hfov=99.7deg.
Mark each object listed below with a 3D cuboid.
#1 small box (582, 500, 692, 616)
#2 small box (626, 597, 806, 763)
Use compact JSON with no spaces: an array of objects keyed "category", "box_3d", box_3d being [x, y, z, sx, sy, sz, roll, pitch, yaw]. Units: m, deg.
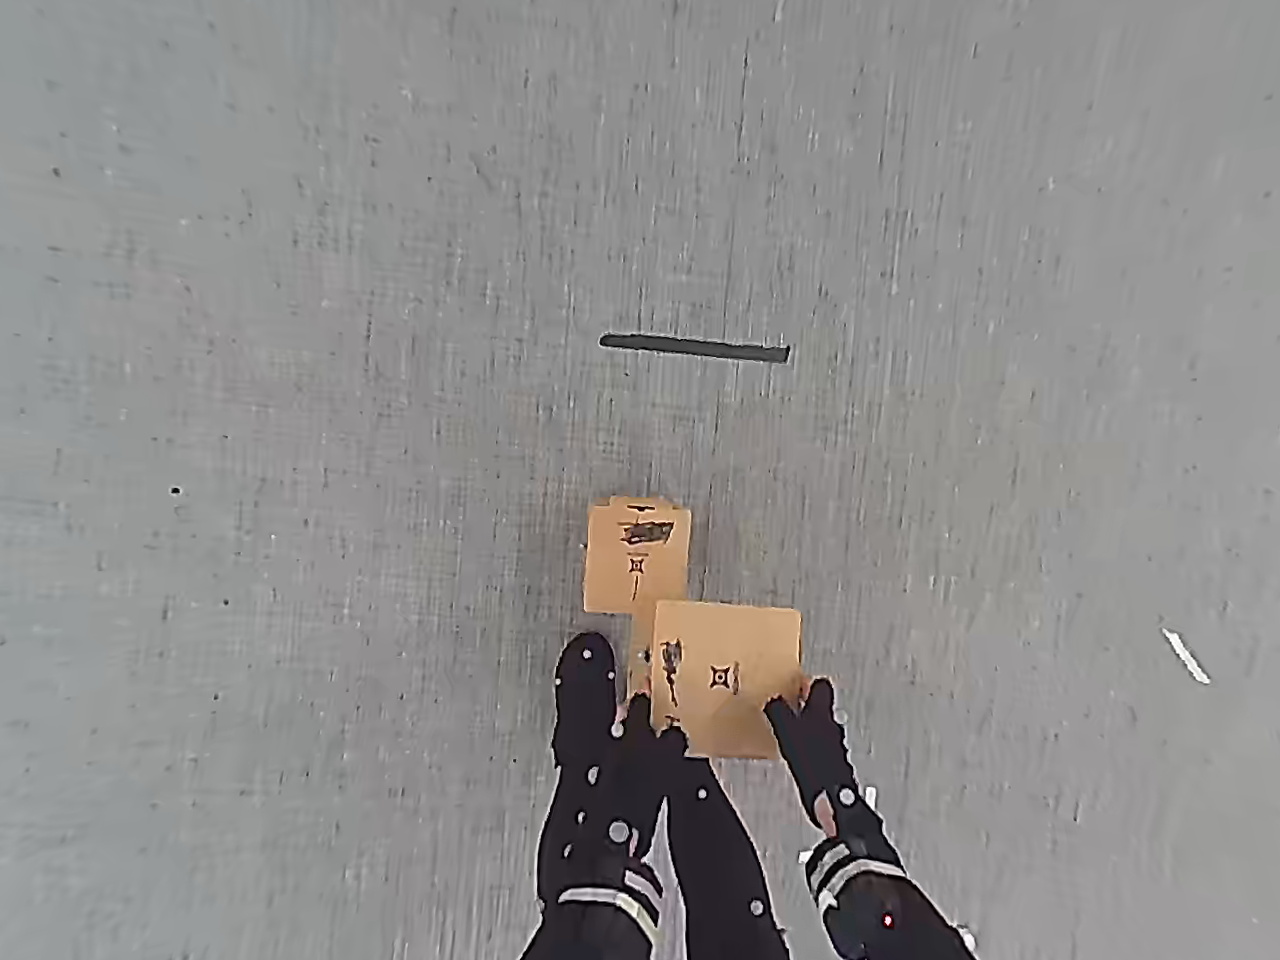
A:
[{"category":"small box","box_3d":[-0.012,0.129,0.939,0.168,0.176,0.179,4,92,-6]},{"category":"small box","box_3d":[0.087,0.238,0.678,0.179,0.176,0.168,7,78,-9]}]
